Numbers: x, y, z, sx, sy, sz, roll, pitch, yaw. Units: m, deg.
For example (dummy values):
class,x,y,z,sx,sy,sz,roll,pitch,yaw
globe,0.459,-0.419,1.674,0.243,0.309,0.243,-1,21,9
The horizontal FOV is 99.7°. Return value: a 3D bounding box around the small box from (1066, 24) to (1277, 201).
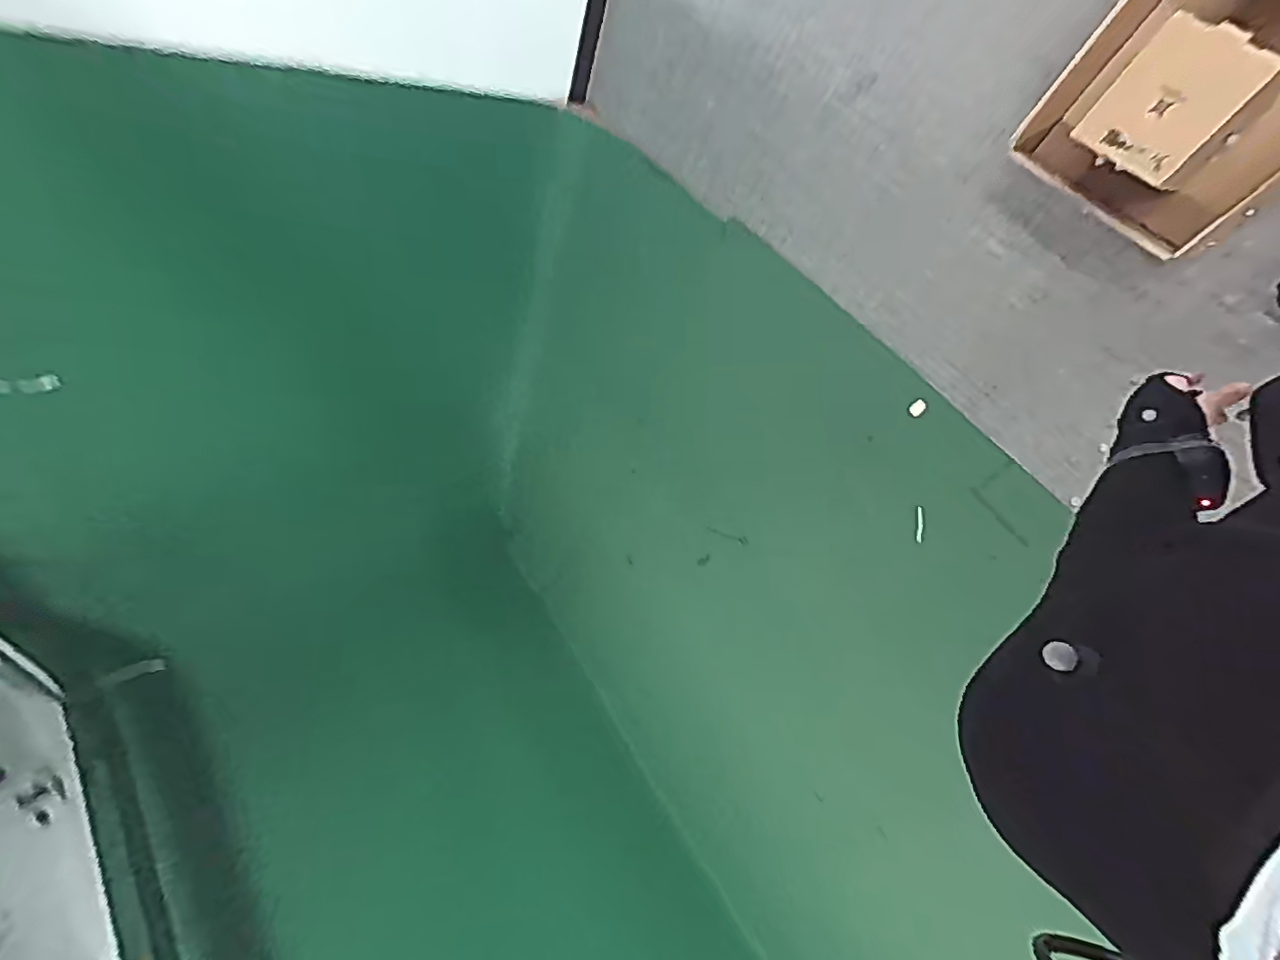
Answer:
class,x,y,z,sx,sy,sz,roll,pitch,yaw
small box,0.853,-0.582,0.877,0.168,0.176,0.179,53,138,21
